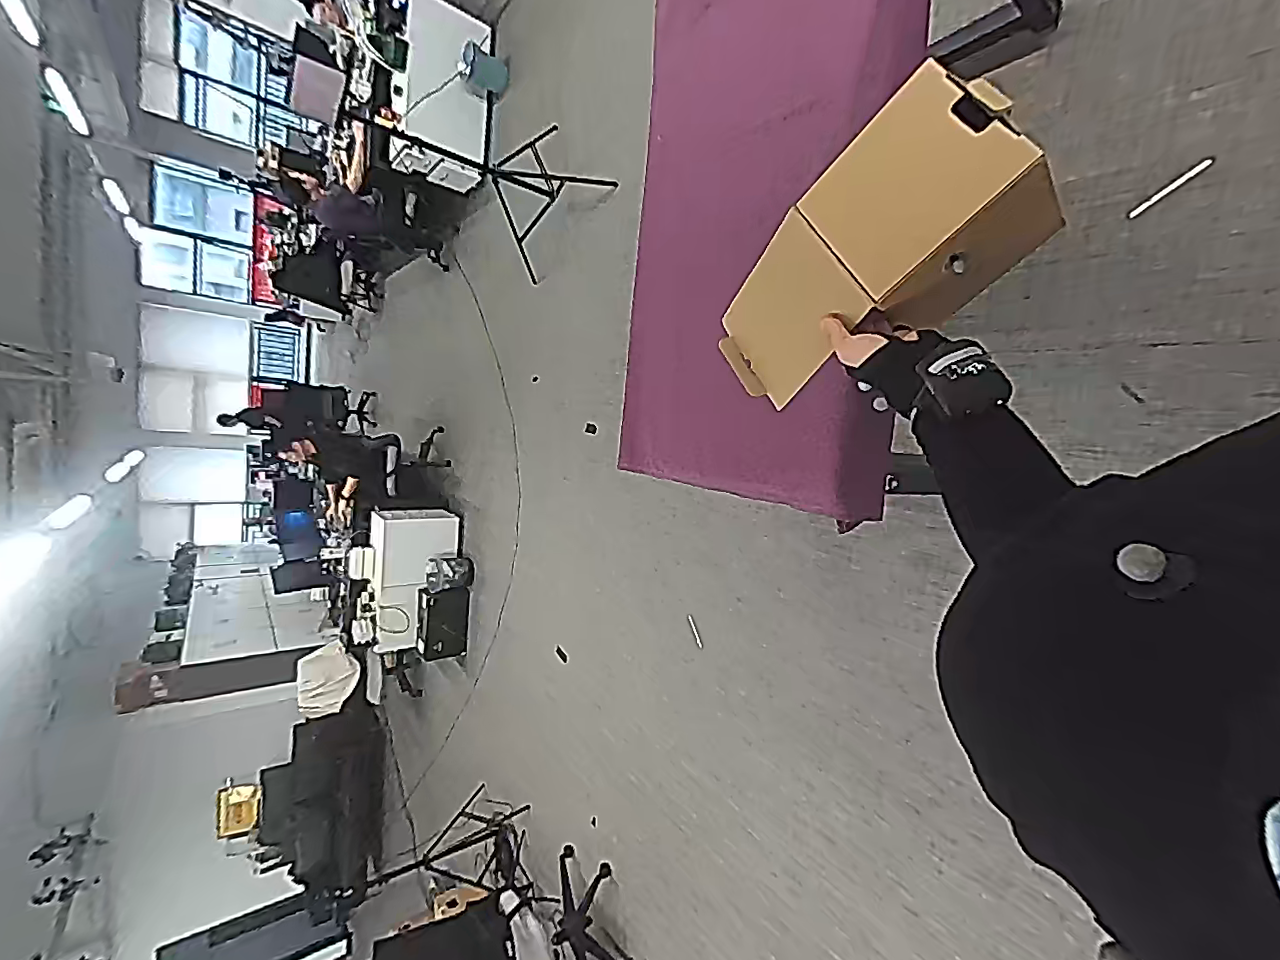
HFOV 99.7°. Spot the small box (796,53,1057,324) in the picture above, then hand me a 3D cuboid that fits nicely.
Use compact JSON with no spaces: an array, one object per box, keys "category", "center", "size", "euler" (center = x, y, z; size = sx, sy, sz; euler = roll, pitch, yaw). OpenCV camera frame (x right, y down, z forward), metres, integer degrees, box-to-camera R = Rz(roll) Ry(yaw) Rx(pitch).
[{"category":"small box","center":[0.317,-0.301,0.601],"size":[0.179,0.176,0.168],"euler":[-42,63,35]}]
